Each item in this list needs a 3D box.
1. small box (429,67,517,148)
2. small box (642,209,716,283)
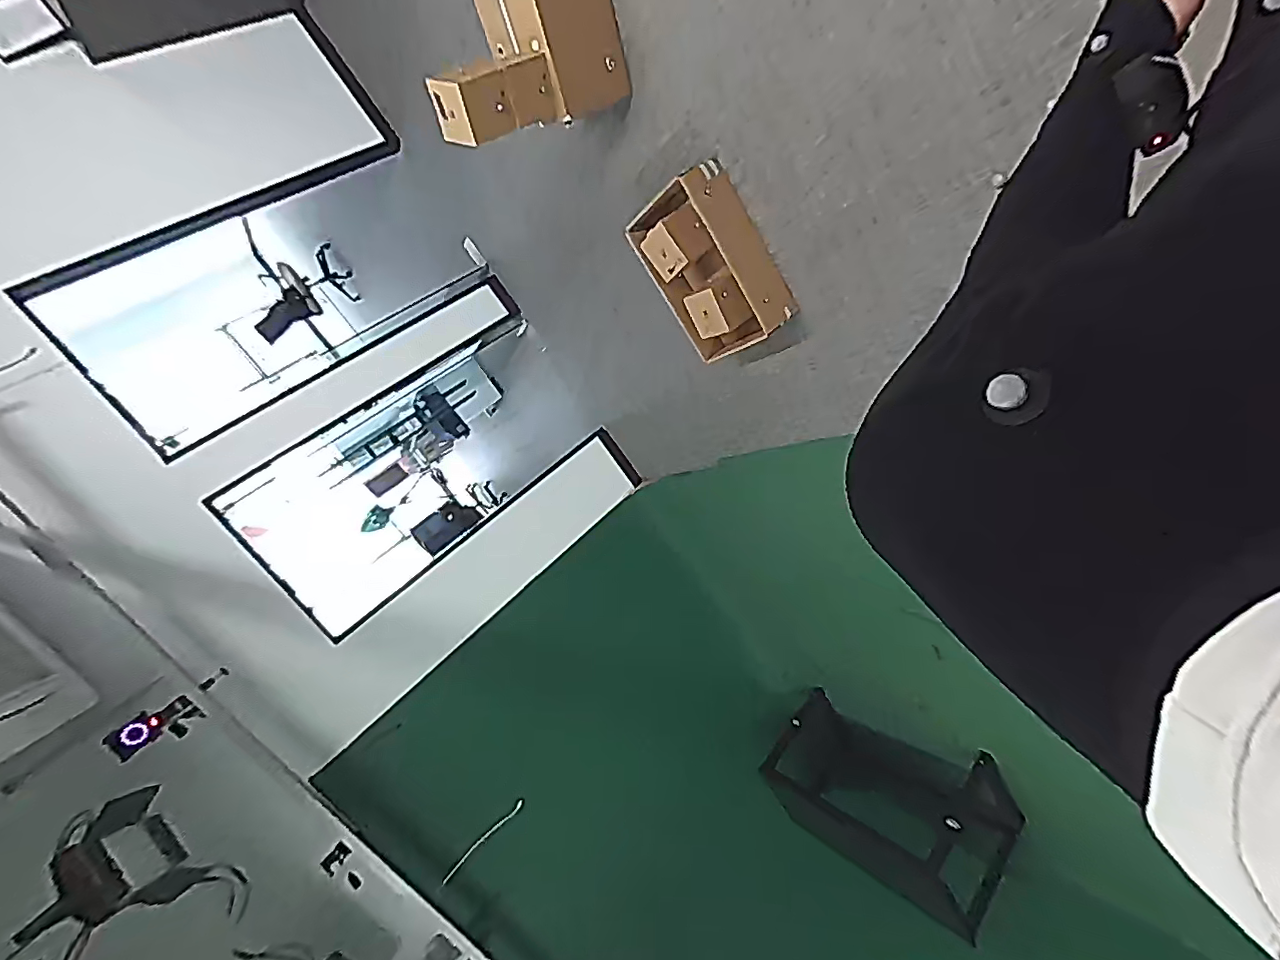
[{"bbox_3d":[-0.512,-1.159,1.677,0.179,0.176,0.168,31,150,30],"label":"small box"},{"bbox_3d":[0.148,-0.878,2.015,0.179,0.176,0.168,53,154,-10],"label":"small box"}]
